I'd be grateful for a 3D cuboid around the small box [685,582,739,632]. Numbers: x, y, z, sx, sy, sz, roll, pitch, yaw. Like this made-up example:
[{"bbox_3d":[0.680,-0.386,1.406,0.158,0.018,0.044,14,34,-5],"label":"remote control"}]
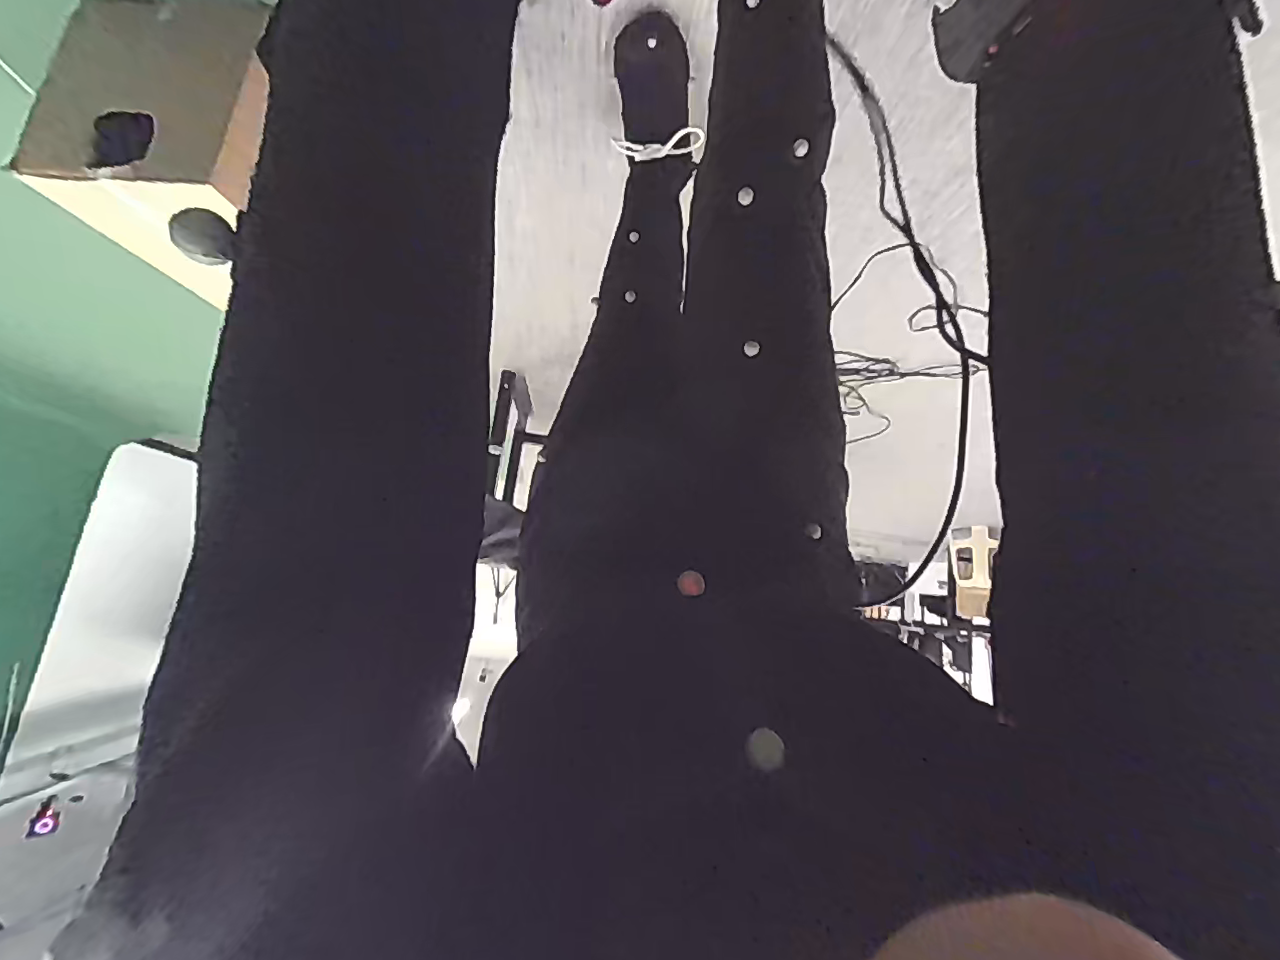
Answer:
[{"bbox_3d":[0.286,0.502,2.144,0.179,0.176,0.168,9,168,-4],"label":"small box"}]
